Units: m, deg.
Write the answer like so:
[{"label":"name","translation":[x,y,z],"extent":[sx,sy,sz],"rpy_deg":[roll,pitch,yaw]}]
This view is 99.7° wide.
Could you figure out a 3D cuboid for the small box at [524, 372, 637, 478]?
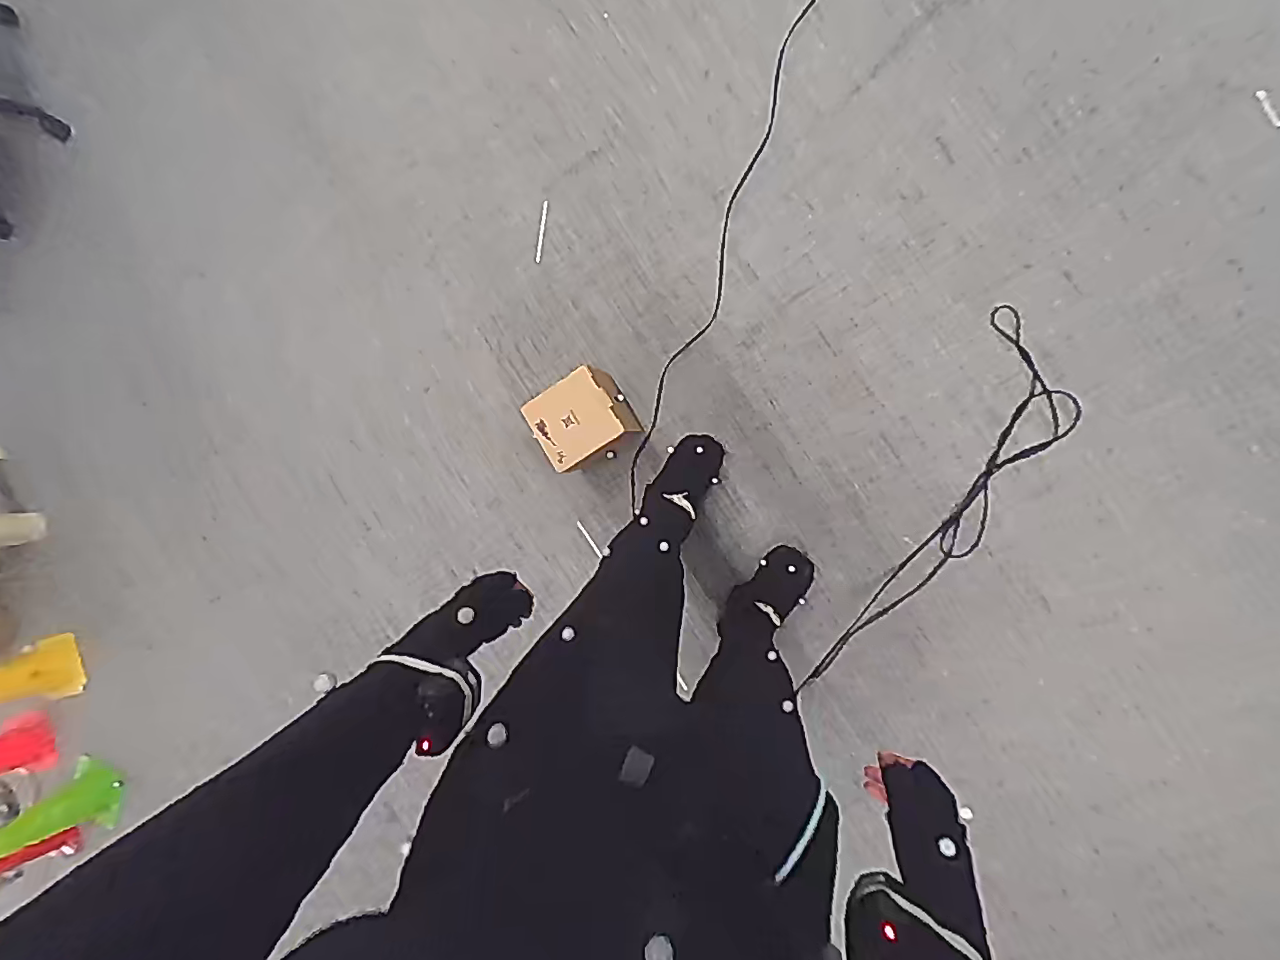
[{"label":"small box","translation":[-0.121,-0.121,1.202],"extent":[0.179,0.176,0.168],"rpy_deg":[-30,88,13]}]
